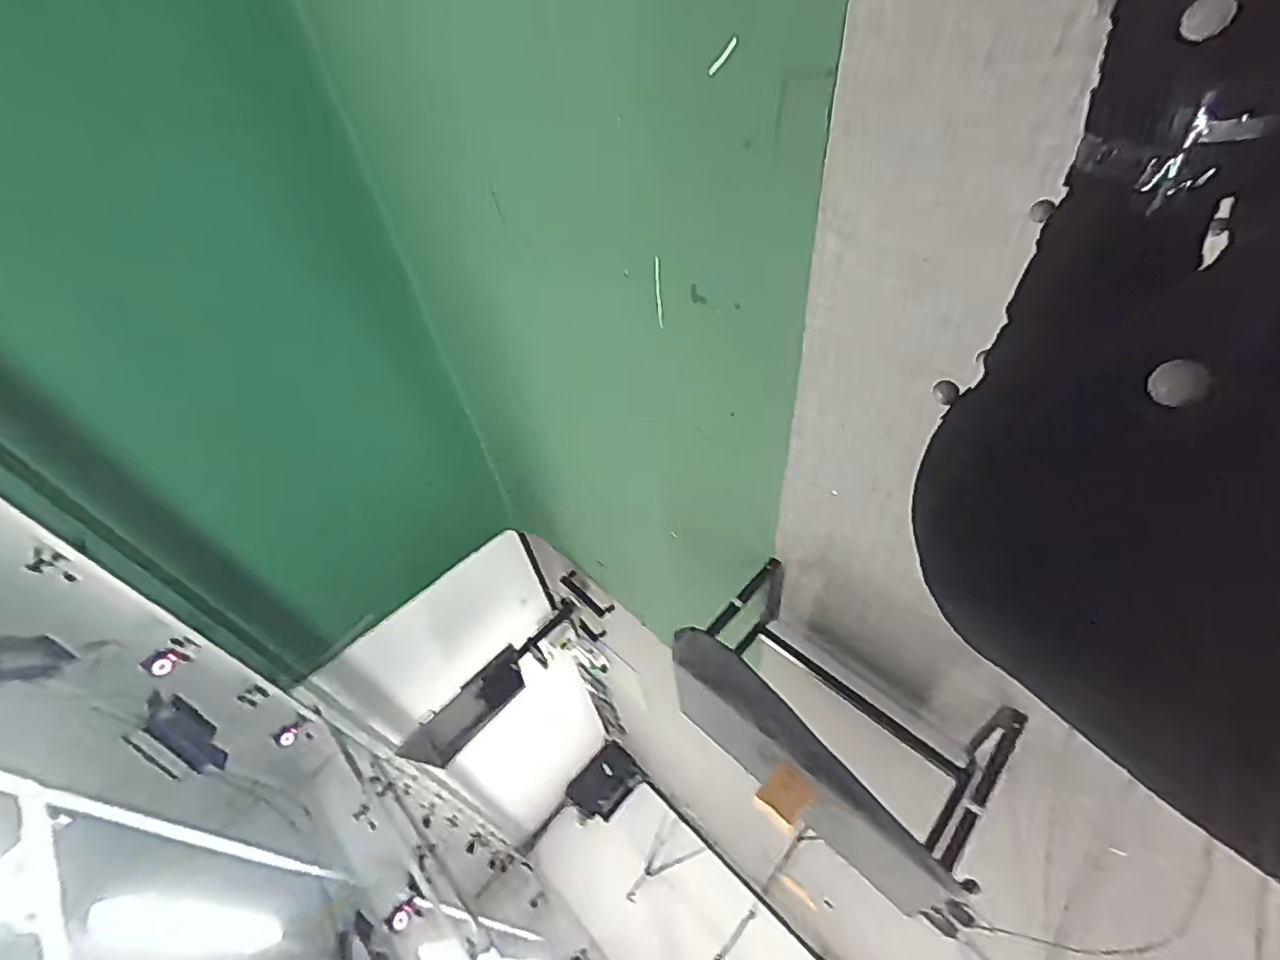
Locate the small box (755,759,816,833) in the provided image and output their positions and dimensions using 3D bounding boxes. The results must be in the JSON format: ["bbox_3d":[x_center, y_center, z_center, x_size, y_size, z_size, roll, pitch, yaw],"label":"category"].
[{"bbox_3d":[0.572,1.238,2.127,0.168,0.176,0.179,33,149,33],"label":"small box"}]
